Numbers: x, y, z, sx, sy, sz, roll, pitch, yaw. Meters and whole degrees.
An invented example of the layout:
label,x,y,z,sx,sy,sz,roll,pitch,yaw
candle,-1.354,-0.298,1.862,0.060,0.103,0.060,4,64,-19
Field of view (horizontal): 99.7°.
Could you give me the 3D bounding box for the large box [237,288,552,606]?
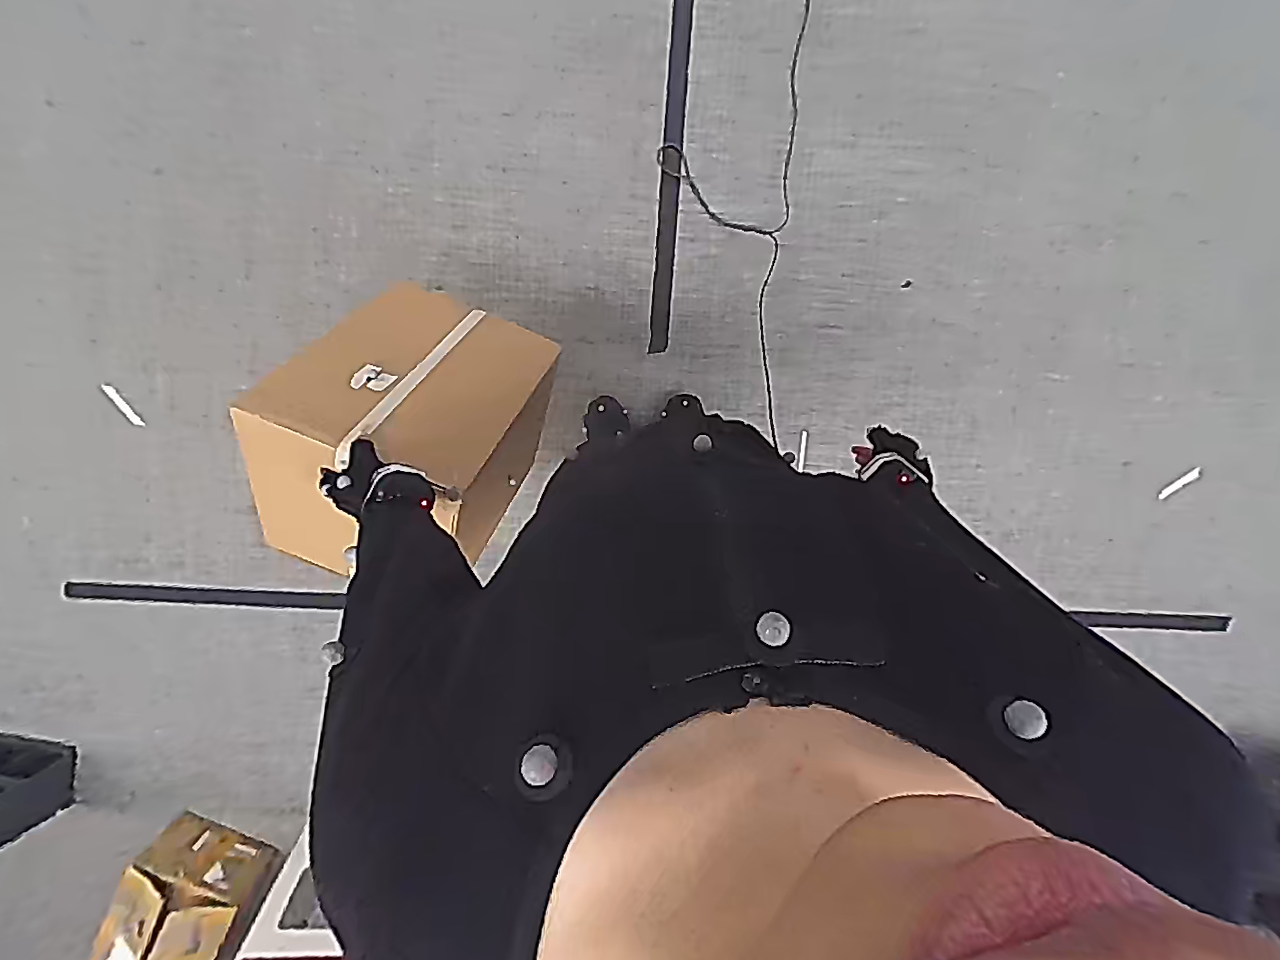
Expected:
label,x,y,z,sx,sy,sz,roll,pitch,yaw
large box,-0.389,-0.064,0.950,0.320,0.408,0.320,22,134,-3
